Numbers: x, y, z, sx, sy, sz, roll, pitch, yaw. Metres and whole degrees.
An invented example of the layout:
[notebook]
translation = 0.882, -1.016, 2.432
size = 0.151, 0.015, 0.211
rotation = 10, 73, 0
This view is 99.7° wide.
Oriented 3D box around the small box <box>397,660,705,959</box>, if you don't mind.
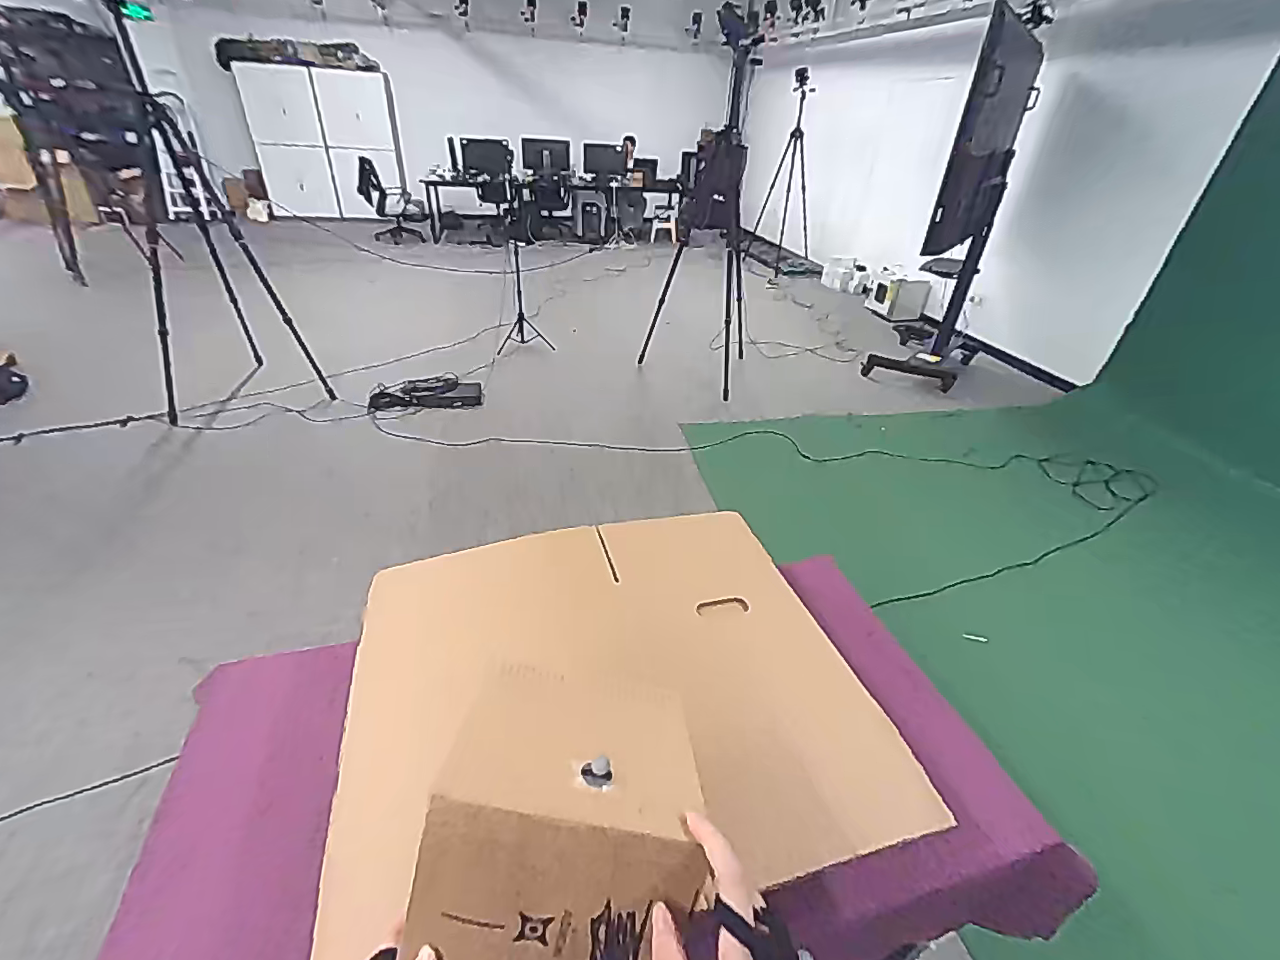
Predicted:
[small box]
translation = -0.065, 0.265, 0.425
size = 0.179, 0.168, 0.176
rotation = 13, 10, -5
